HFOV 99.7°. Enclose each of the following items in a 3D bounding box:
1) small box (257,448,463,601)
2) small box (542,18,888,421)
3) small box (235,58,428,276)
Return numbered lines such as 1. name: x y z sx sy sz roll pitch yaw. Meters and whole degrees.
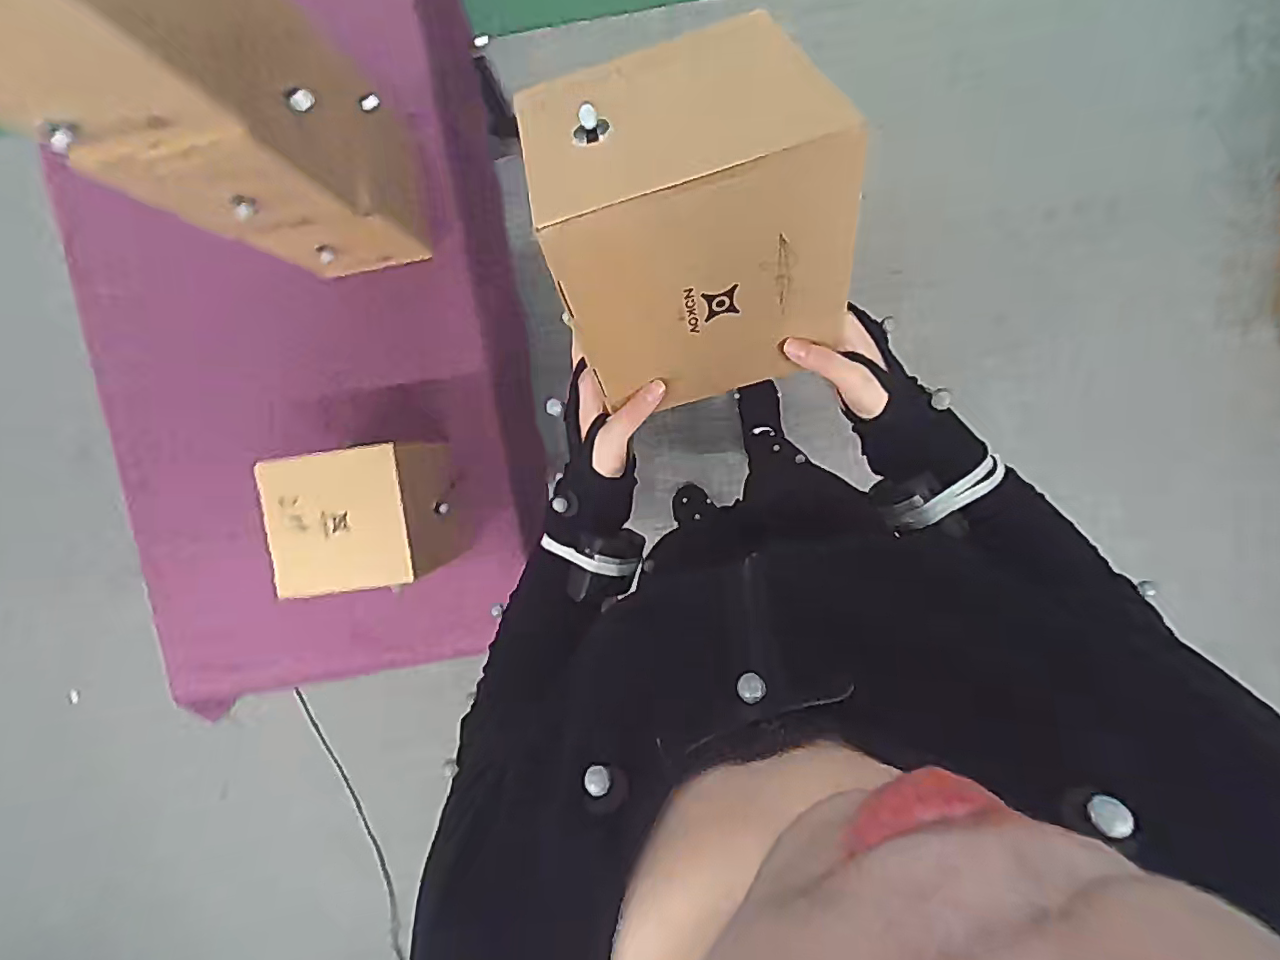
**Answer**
1. small box: -0.351 0.049 0.717 0.179 0.176 0.168 -8 93 5
2. small box: 0.038 -0.173 0.375 0.179 0.168 0.176 -15 57 4
3. small box: -0.394 -0.376 0.691 0.168 0.176 0.179 -9 93 6
